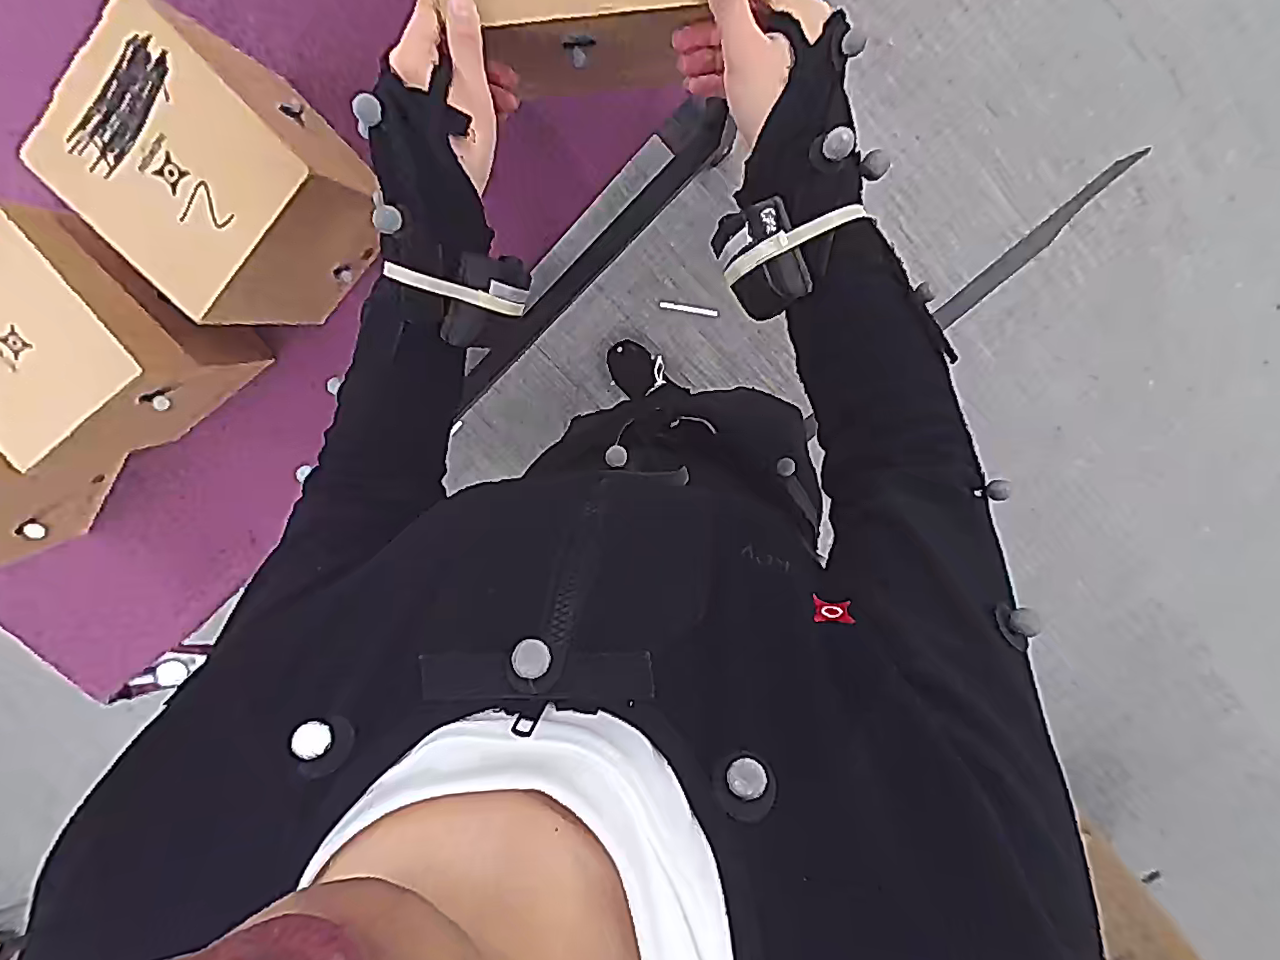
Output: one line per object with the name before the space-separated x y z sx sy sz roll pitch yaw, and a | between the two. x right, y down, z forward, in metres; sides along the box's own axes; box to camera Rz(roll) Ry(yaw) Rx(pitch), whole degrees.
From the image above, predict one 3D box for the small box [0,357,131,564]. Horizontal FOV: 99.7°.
small box | -0.728 -0.019 0.589 0.179 0.176 0.168 38 105 -8
